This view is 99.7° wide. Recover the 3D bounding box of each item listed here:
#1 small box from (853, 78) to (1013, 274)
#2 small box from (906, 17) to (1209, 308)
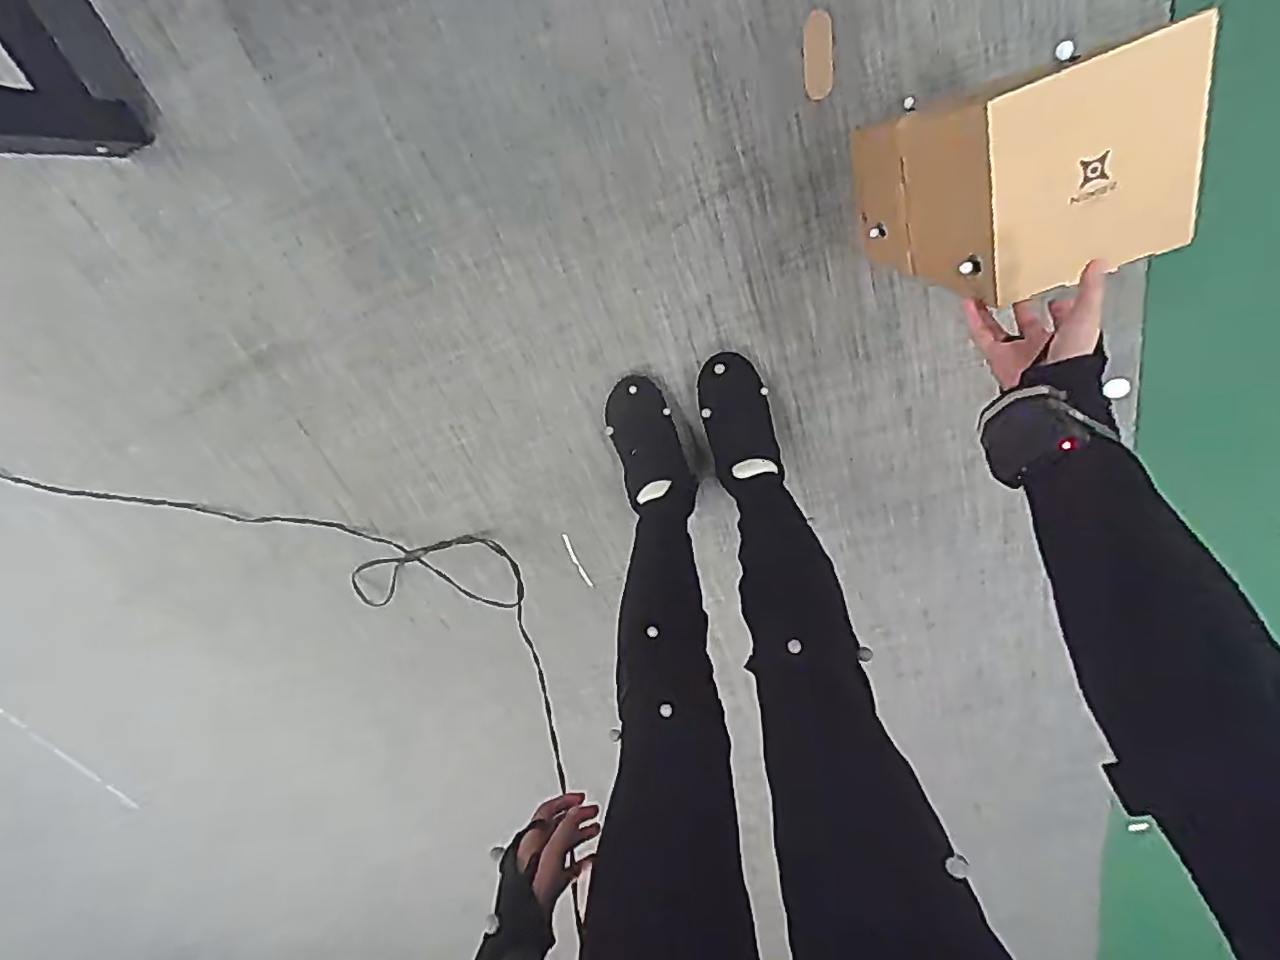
[{"bbox_3d":[0.378,-0.372,0.669,0.179,0.176,0.168,-15,118,9],"label":"small box"},{"bbox_3d":[0.381,-0.293,0.527,0.168,0.176,0.179,-18,118,11],"label":"small box"}]
